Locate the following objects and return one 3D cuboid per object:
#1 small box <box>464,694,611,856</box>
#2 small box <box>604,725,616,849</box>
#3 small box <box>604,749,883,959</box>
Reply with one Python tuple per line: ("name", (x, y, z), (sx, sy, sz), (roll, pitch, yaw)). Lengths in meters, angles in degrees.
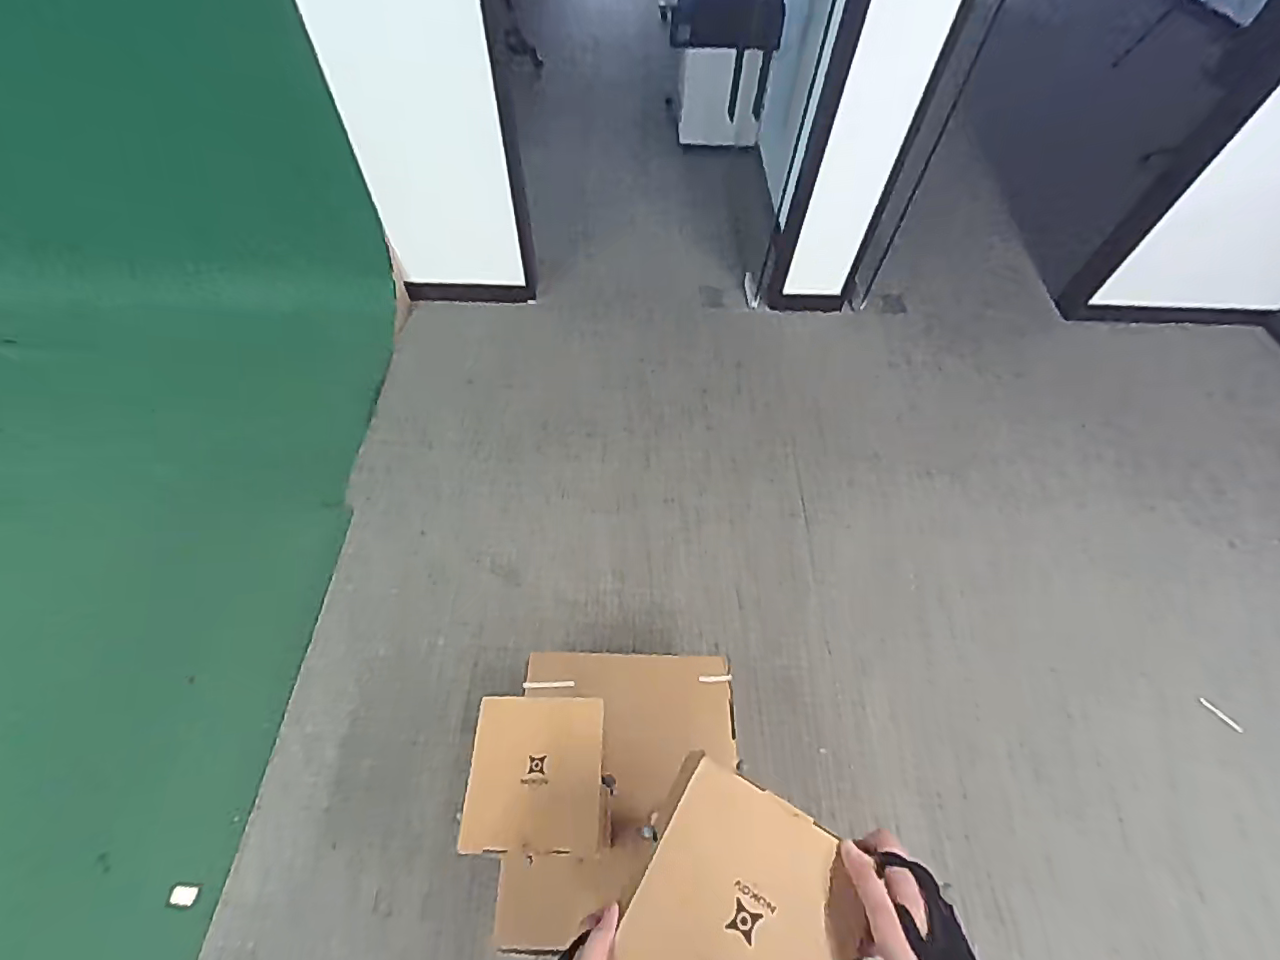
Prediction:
("small box", (-0.127, 0.410, 0.746), (0.168, 0.176, 0.179), (2, 55, -1))
("small box", (-0.128, 0.502, 0.880), (0.179, 0.176, 0.168), (0, 54, -1))
("small box", (0.084, 0.372, 0.492), (0.168, 0.176, 0.179), (29, 68, 15))
